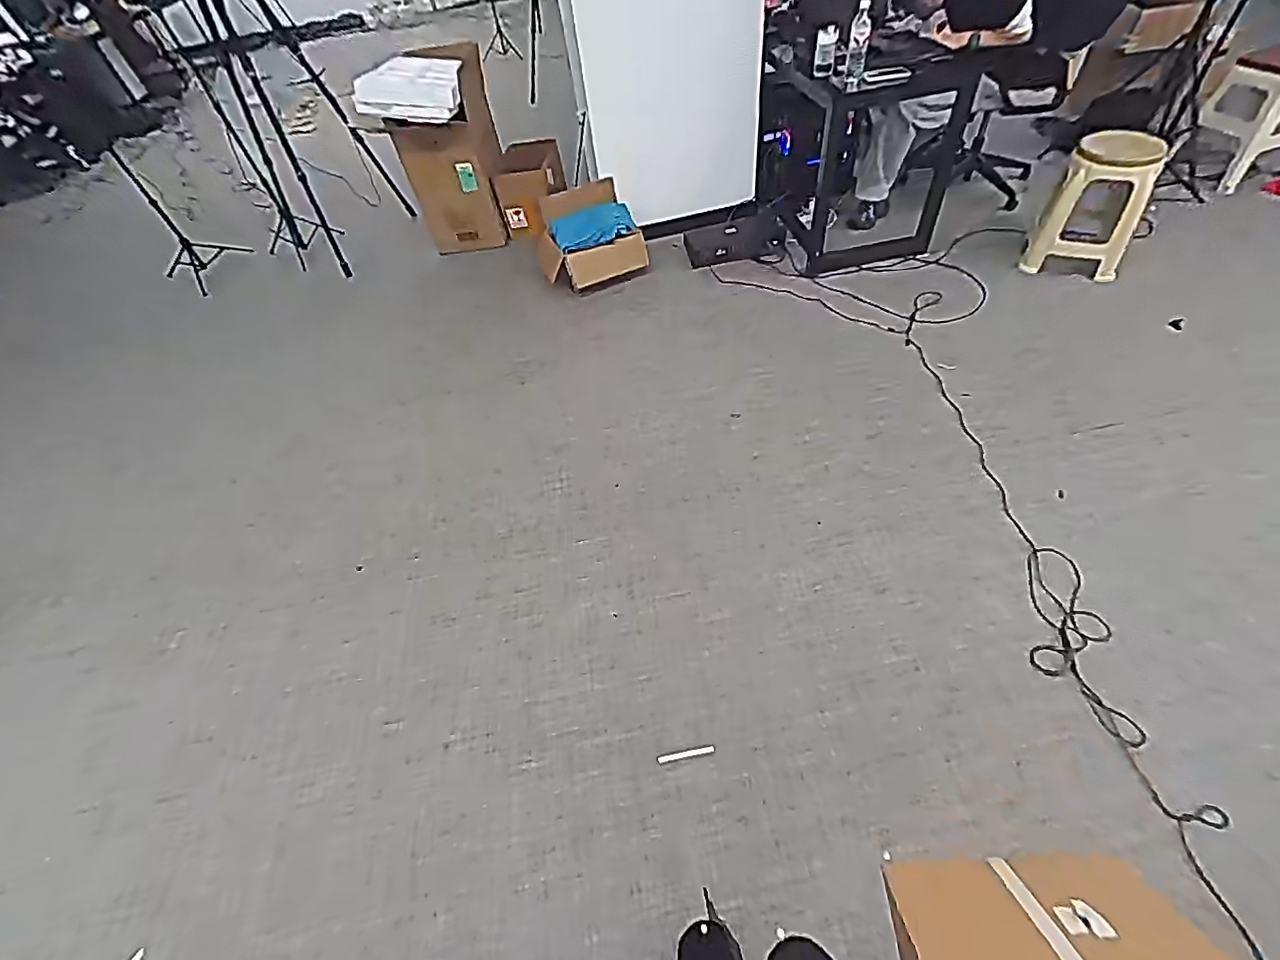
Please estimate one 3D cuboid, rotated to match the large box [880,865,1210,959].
[{"bbox_3d":[0.496,0.694,0.575,0.320,0.408,0.320,-8,81,10],"label":"large box"}]
